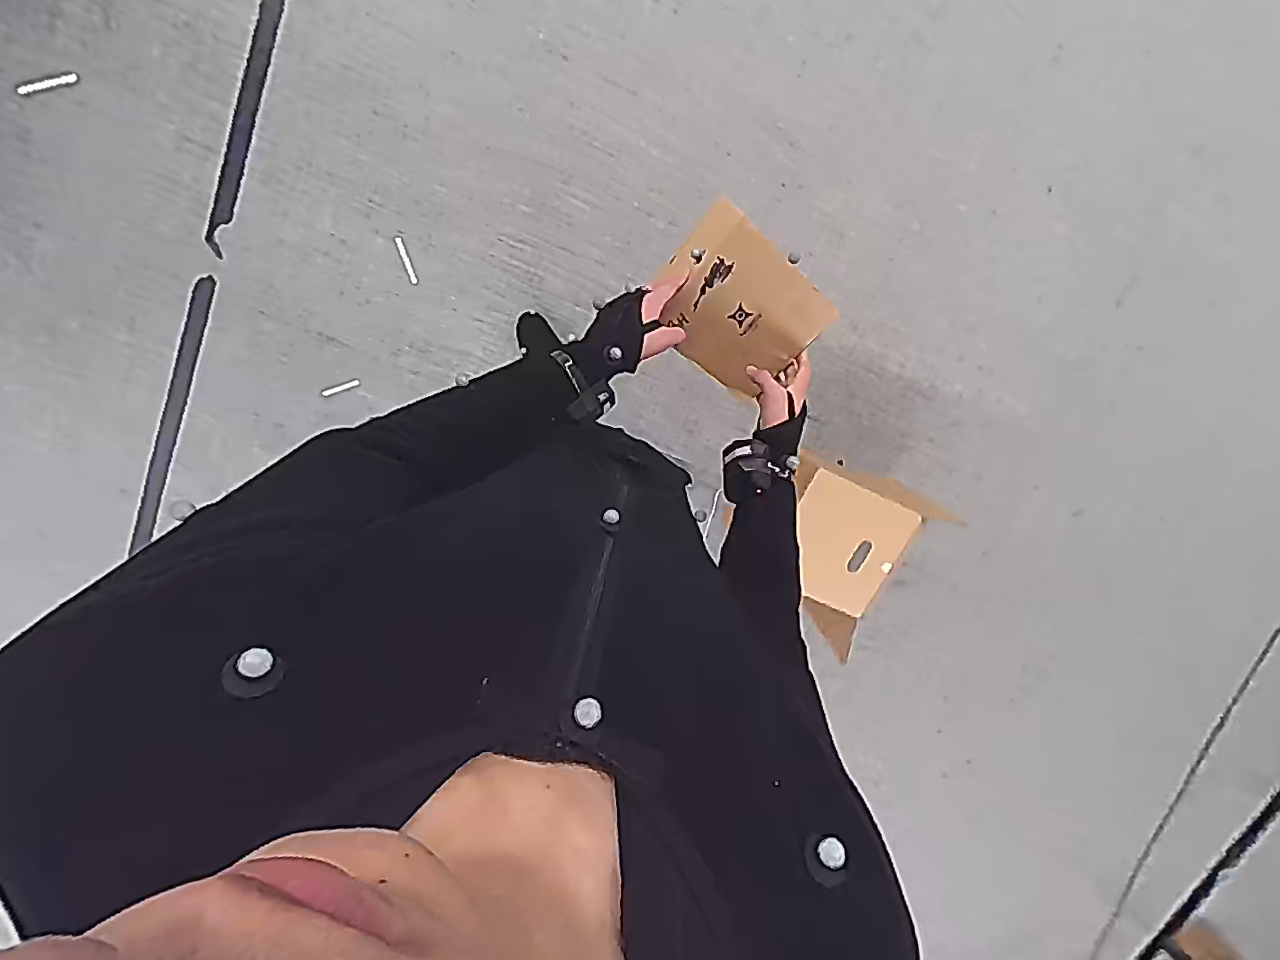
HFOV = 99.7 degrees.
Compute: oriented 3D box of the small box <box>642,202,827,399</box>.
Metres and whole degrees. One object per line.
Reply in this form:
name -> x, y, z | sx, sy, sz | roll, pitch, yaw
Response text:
small box -> 0.119, -0.251, 0.743 | 0.179, 0.176, 0.168 | 33, 119, -22
